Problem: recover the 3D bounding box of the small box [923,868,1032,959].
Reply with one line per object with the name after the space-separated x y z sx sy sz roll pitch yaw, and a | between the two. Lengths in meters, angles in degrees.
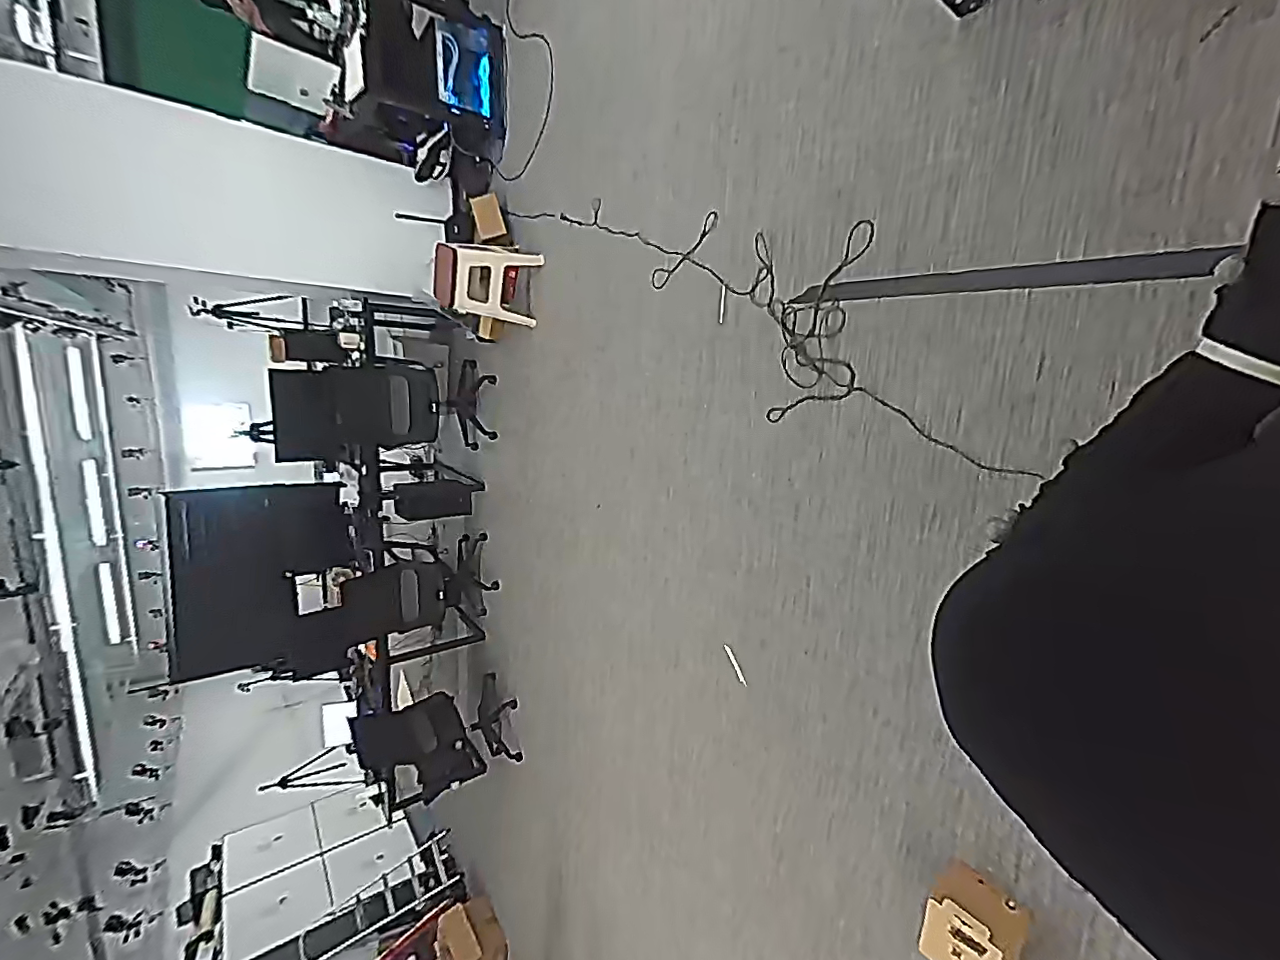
0.824 1.108 1.319 0.168 0.176 0.179 18 110 52 | small box
